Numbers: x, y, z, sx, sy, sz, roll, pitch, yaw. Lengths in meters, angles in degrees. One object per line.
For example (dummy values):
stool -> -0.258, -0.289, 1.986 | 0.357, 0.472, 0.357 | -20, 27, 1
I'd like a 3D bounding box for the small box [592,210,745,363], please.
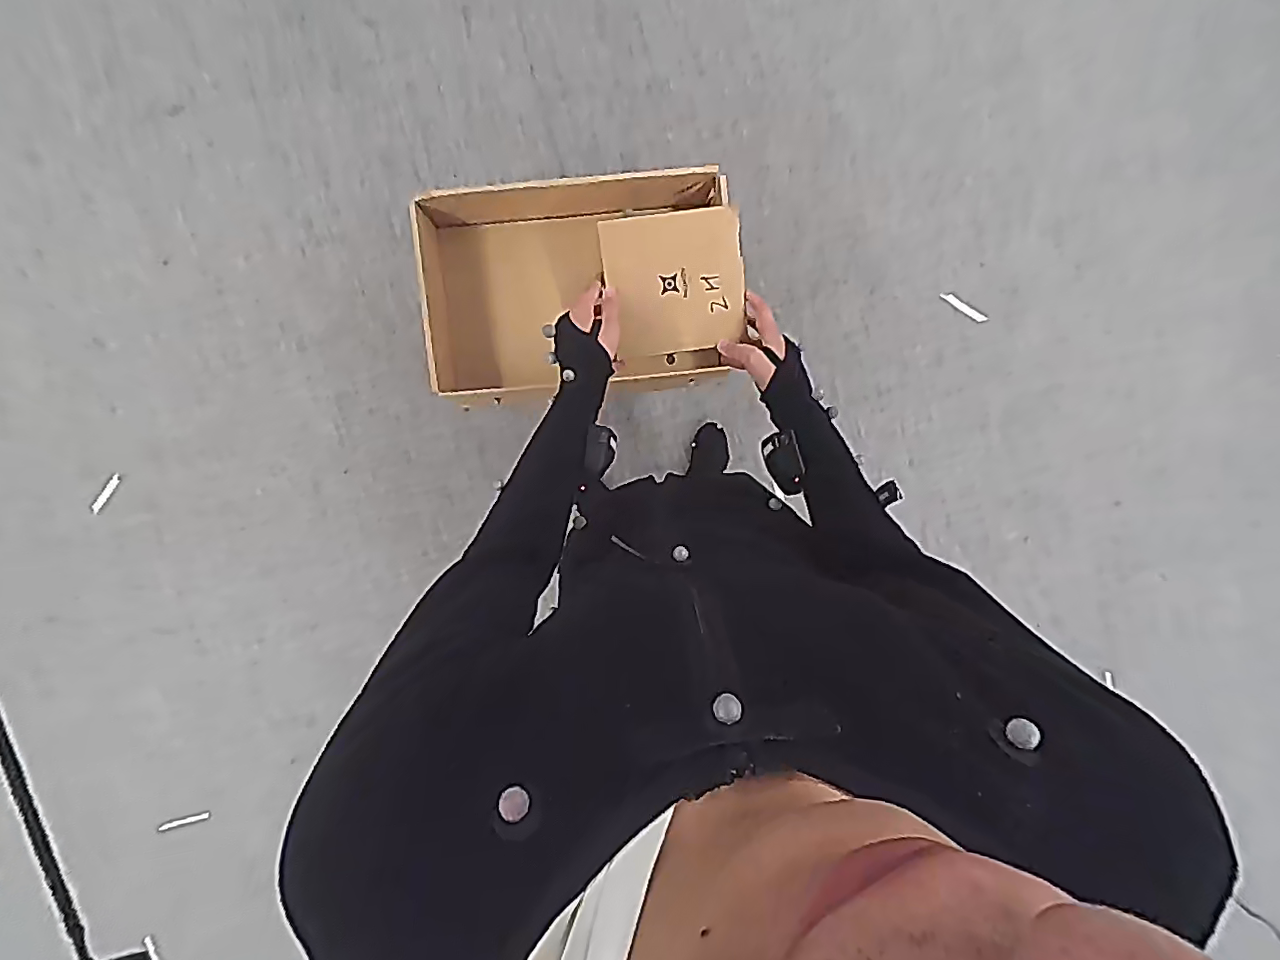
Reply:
small box -> 0.031, -0.252, 0.737 | 0.179, 0.176, 0.168 | -9, 105, -5
